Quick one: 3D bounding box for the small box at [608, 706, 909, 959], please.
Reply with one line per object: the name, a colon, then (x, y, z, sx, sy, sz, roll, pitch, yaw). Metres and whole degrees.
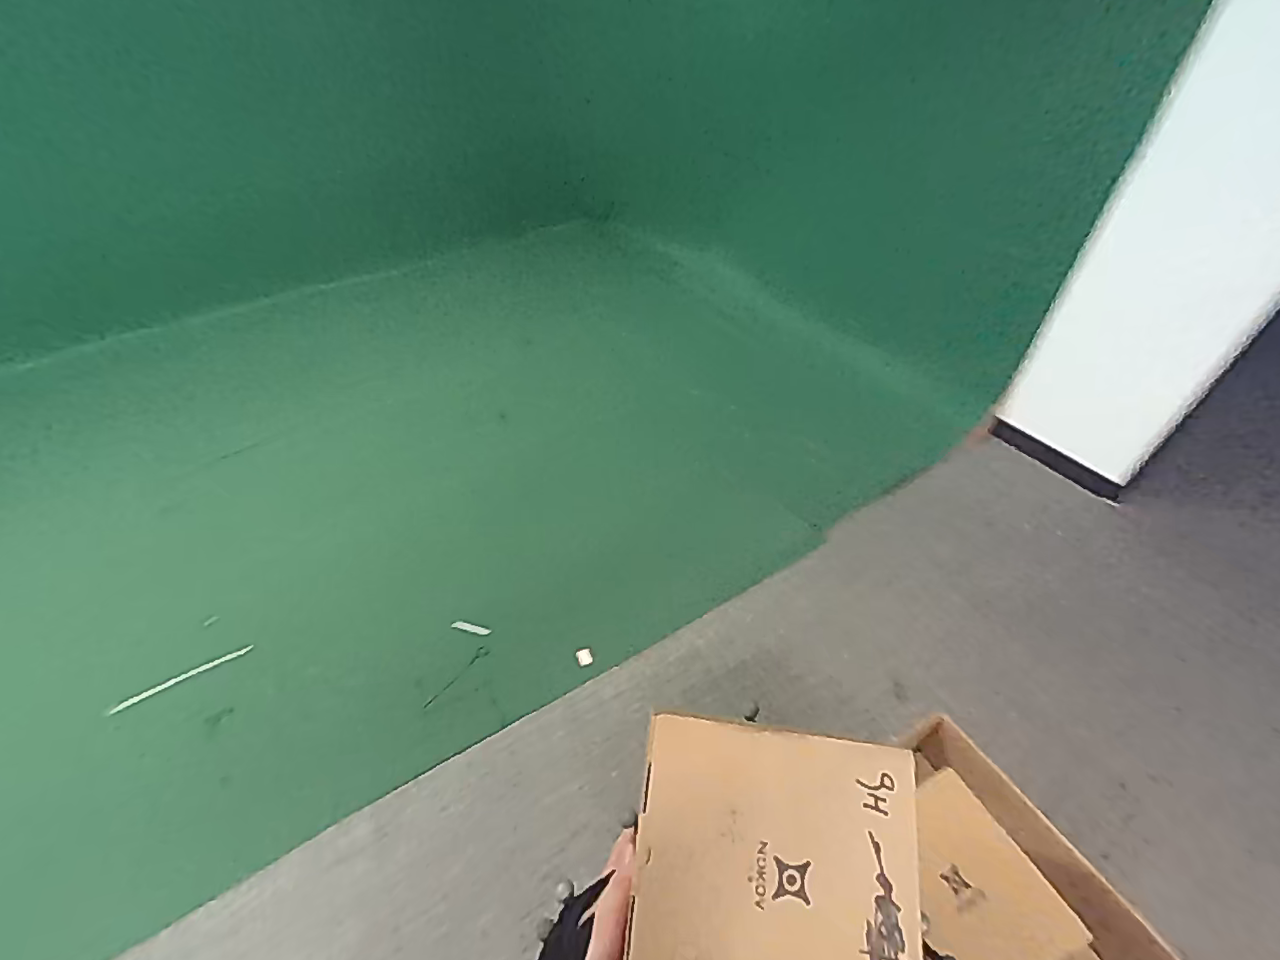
small box: (0.078, 0.270, 0.408, 0.179, 0.176, 0.168, 6, 68, 4)
